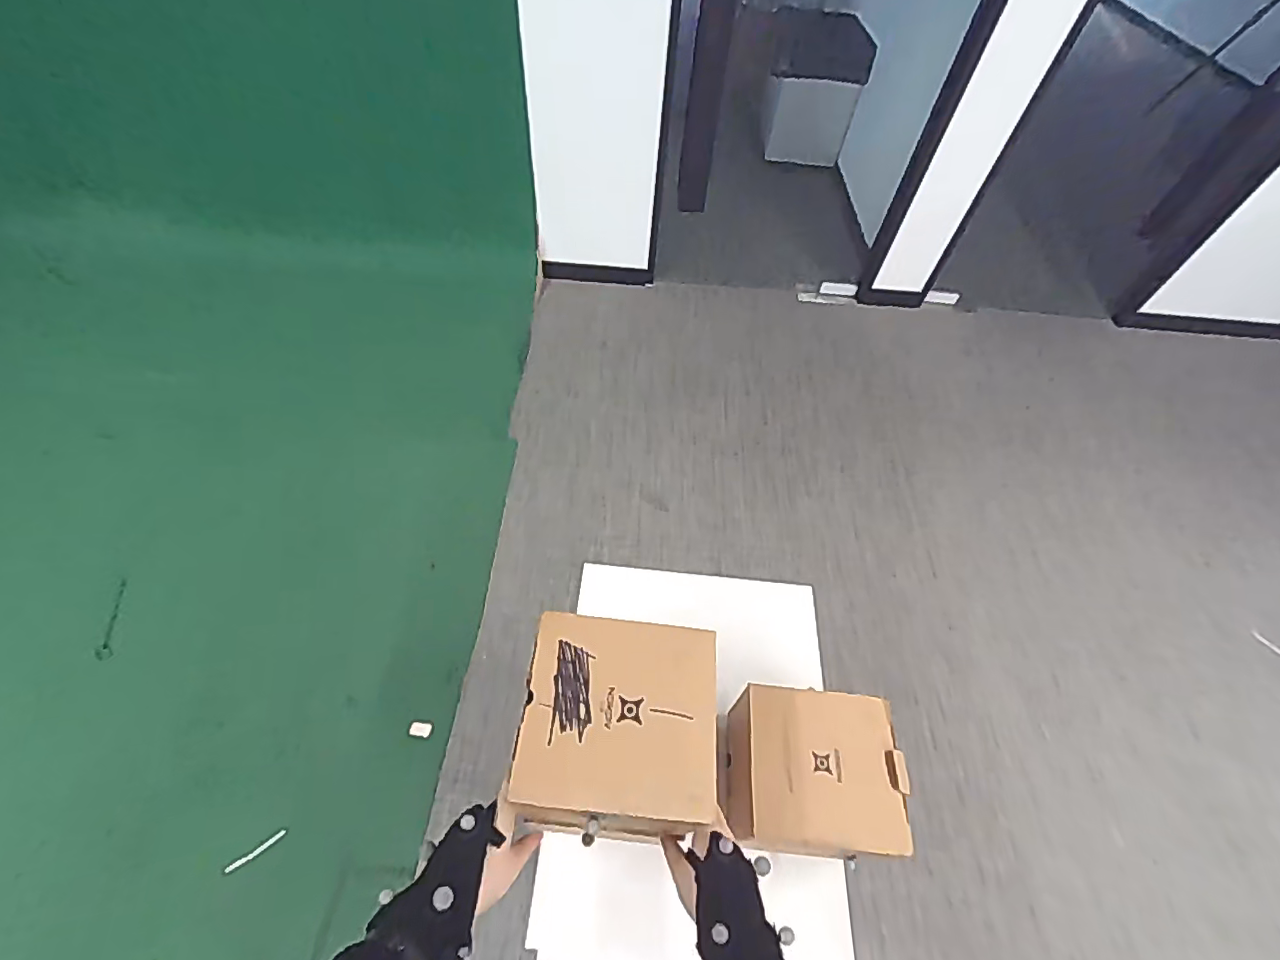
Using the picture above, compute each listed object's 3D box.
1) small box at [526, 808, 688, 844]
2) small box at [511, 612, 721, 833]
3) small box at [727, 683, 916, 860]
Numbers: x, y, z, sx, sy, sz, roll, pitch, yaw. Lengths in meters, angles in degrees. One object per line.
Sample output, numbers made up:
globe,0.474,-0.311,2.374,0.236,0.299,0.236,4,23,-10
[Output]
small box,-0.033,0.350,0.680,0.179,0.176,0.168,7,55,-1
small box,-0.020,0.251,0.548,0.179,0.176,0.168,7,54,-2
small box,0.213,0.374,0.686,0.179,0.176,0.168,6,53,2
